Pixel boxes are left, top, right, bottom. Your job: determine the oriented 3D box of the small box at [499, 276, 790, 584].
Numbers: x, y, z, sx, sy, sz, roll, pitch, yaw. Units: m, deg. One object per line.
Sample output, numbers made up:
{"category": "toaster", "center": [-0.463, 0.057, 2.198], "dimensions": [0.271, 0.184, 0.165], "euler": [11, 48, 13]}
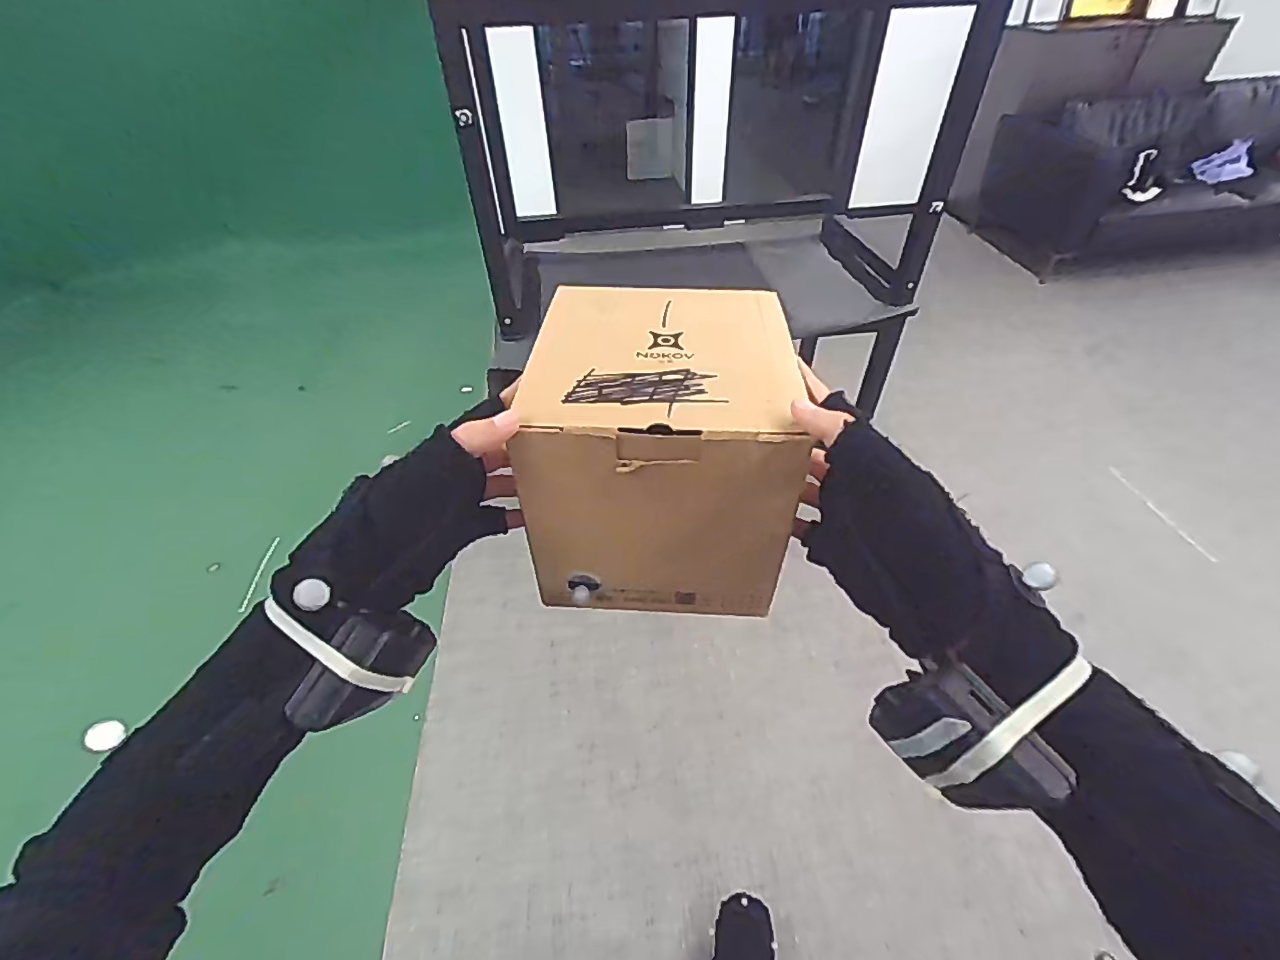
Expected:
{"category": "small box", "center": [0.008, -0.039, 0.409], "dimensions": [0.168, 0.176, 0.179], "euler": [2, 42, 3]}
